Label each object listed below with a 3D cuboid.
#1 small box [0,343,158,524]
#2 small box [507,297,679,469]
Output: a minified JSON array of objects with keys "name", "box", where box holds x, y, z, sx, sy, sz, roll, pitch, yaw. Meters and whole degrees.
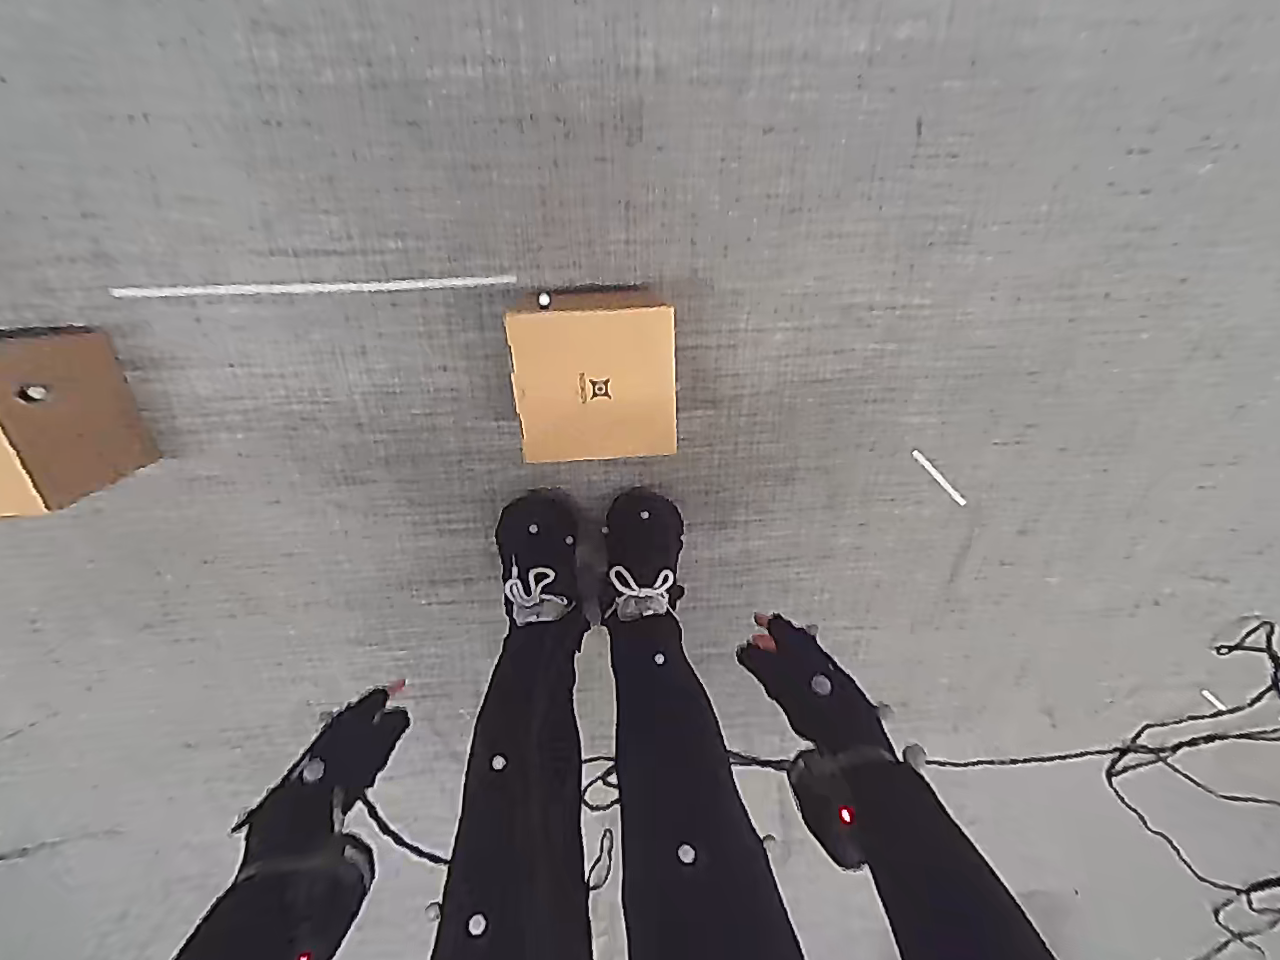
[{"name":"small box","box":[-0.734,-0.061,0.631,0.168,0.176,0.179,-4,114,-2]},{"name":"small box","box":[-0.052,-0.125,0.653,0.179,0.176,0.168,-4,114,-2]}]
